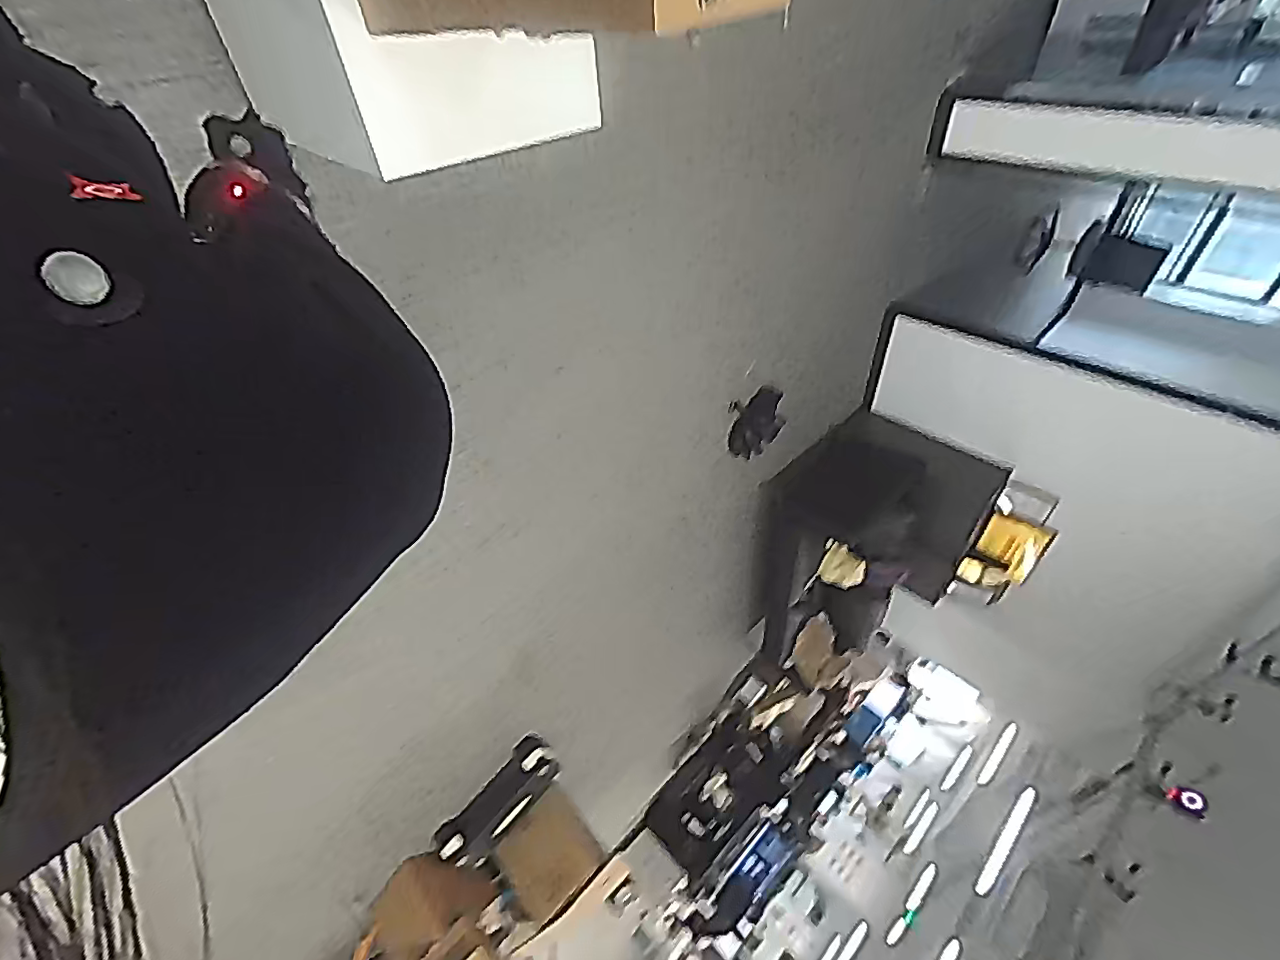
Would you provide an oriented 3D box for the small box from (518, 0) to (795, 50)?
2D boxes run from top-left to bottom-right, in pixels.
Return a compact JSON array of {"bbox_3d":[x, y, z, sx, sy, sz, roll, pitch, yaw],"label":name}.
[{"bbox_3d":[0.004,-0.444,0.402,0.168,0.176,0.179,-36,140,-26],"label":"small box"}]
